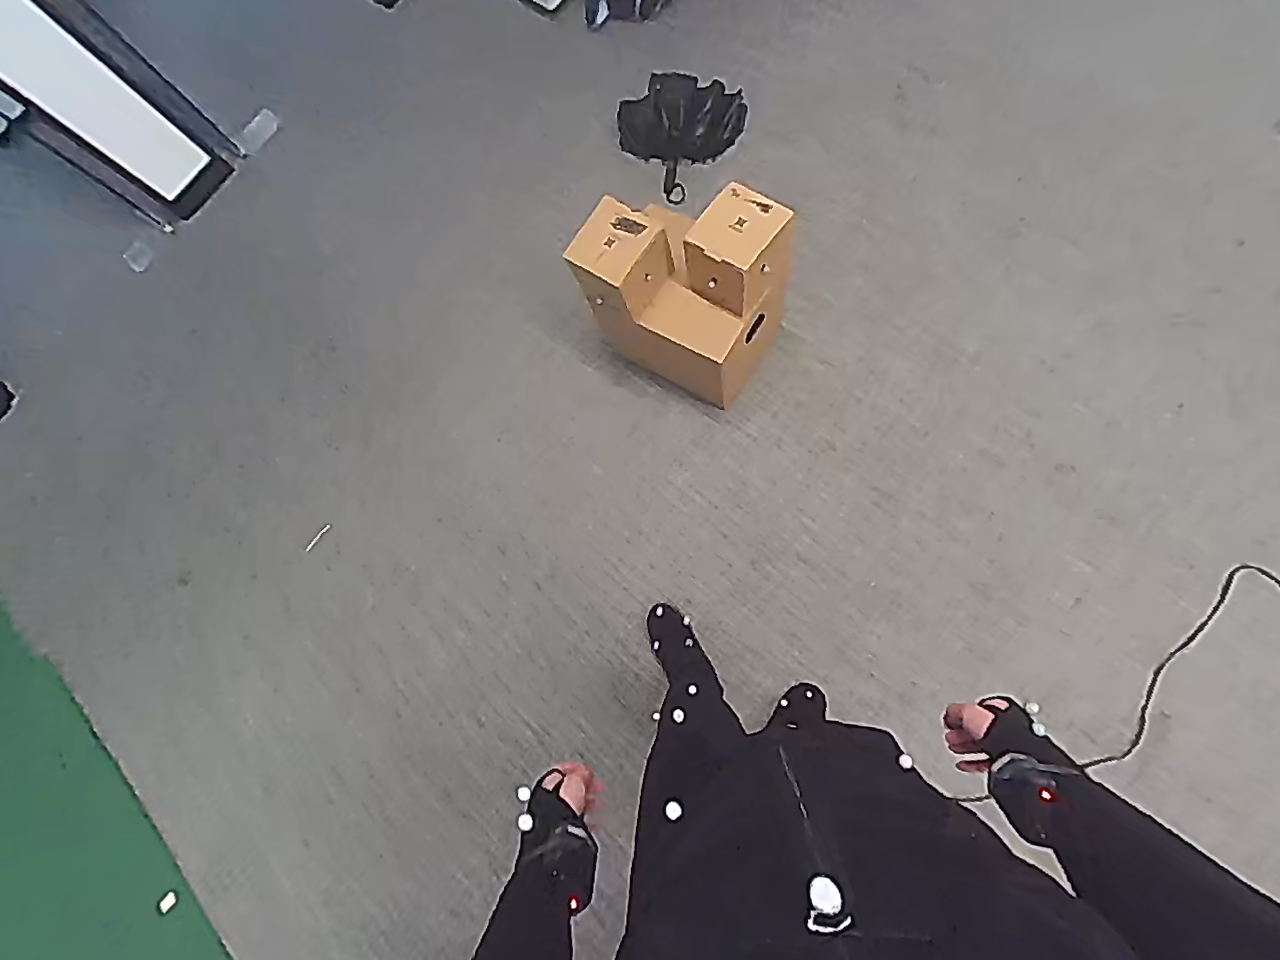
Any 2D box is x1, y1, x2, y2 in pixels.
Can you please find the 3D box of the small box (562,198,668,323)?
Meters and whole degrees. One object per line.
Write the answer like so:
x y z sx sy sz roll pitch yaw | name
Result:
-0.049 -0.506 1.267 0.168 0.176 0.179 35 86 17 | small box

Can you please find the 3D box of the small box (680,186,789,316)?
0.214 -0.508 1.221 0.168 0.176 0.179 37 83 17 | small box
